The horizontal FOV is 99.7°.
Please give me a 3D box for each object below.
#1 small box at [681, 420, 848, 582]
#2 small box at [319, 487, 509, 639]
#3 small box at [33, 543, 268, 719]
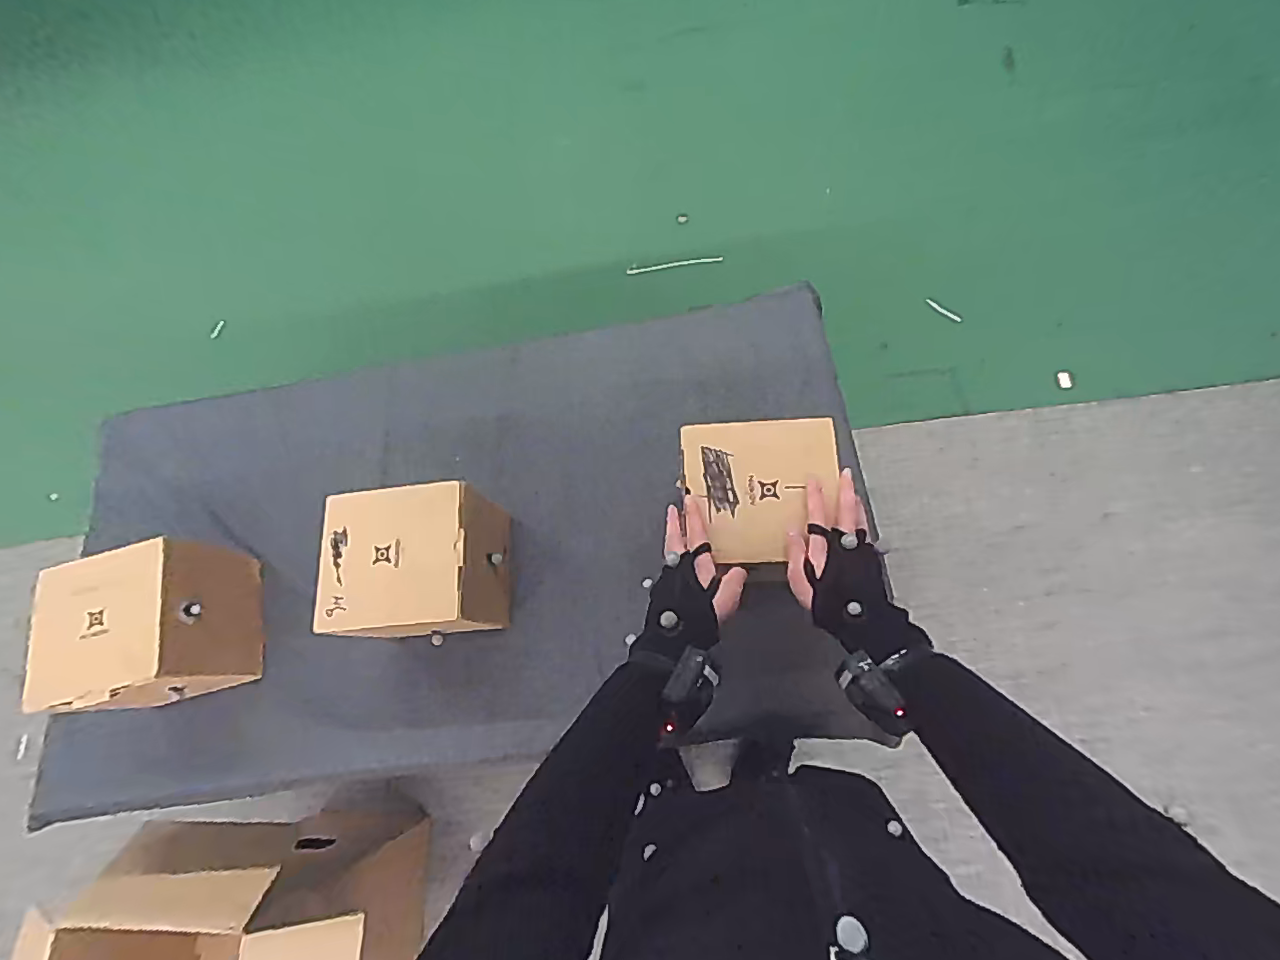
[{"bbox_3d":[0.145,0.036,0.679,0.179,0.176,0.168,-2,73,6],"label":"small box"},{"bbox_3d":[-0.278,0.117,0.710,0.179,0.176,0.168,-6,71,4],"label":"small box"},{"bbox_3d":[-0.637,0.204,0.729,0.168,0.176,0.179,-16,69,0],"label":"small box"}]
